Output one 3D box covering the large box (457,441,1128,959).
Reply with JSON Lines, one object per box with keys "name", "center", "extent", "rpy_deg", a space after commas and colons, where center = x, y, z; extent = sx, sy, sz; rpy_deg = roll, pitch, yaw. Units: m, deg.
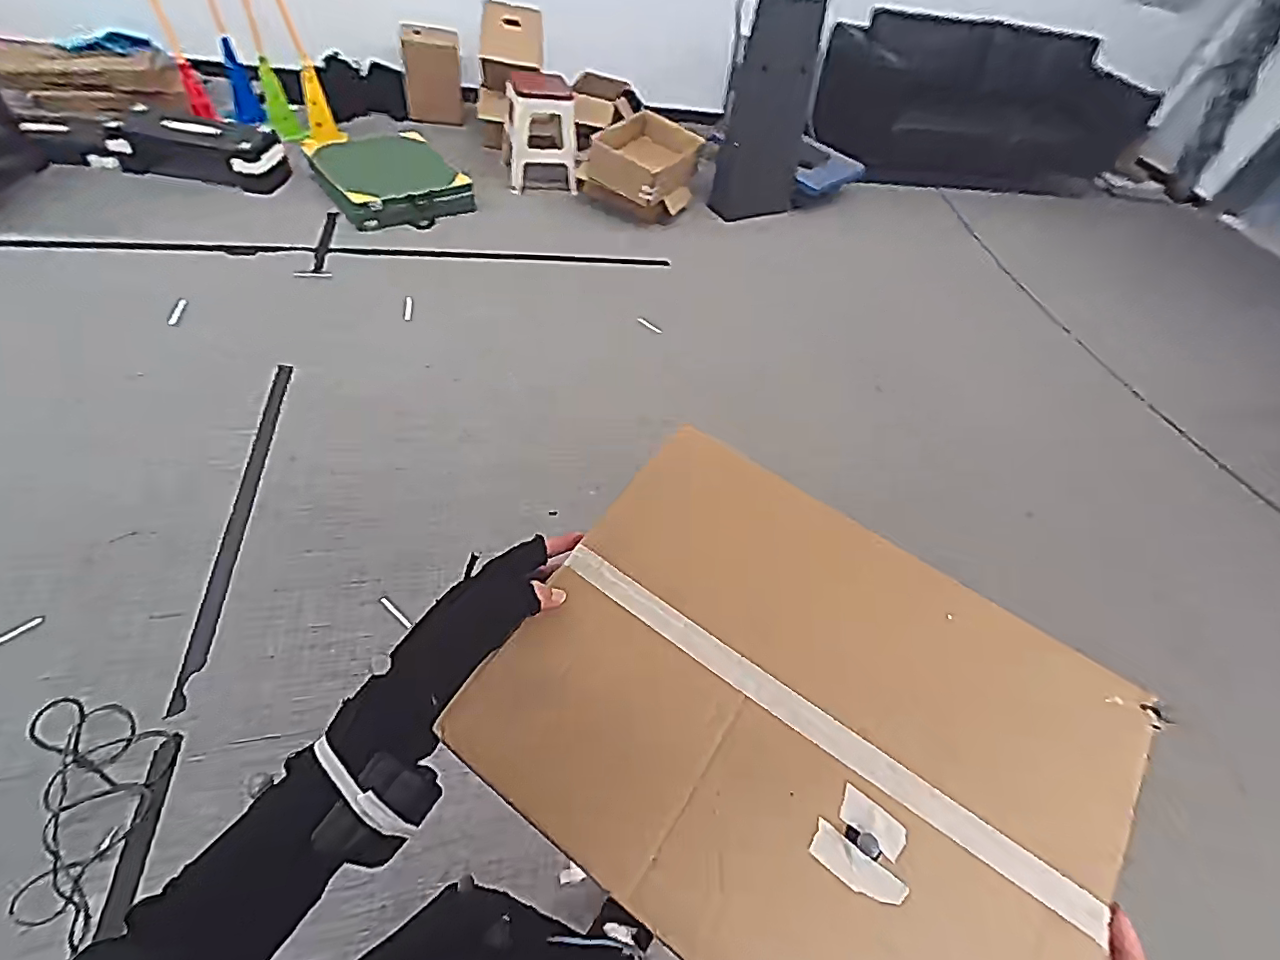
{"name": "large box", "center": [0.111, 0.238, 0.522], "extent": [0.408, 0.320, 0.320], "rpy_deg": [32, 67, 15]}
